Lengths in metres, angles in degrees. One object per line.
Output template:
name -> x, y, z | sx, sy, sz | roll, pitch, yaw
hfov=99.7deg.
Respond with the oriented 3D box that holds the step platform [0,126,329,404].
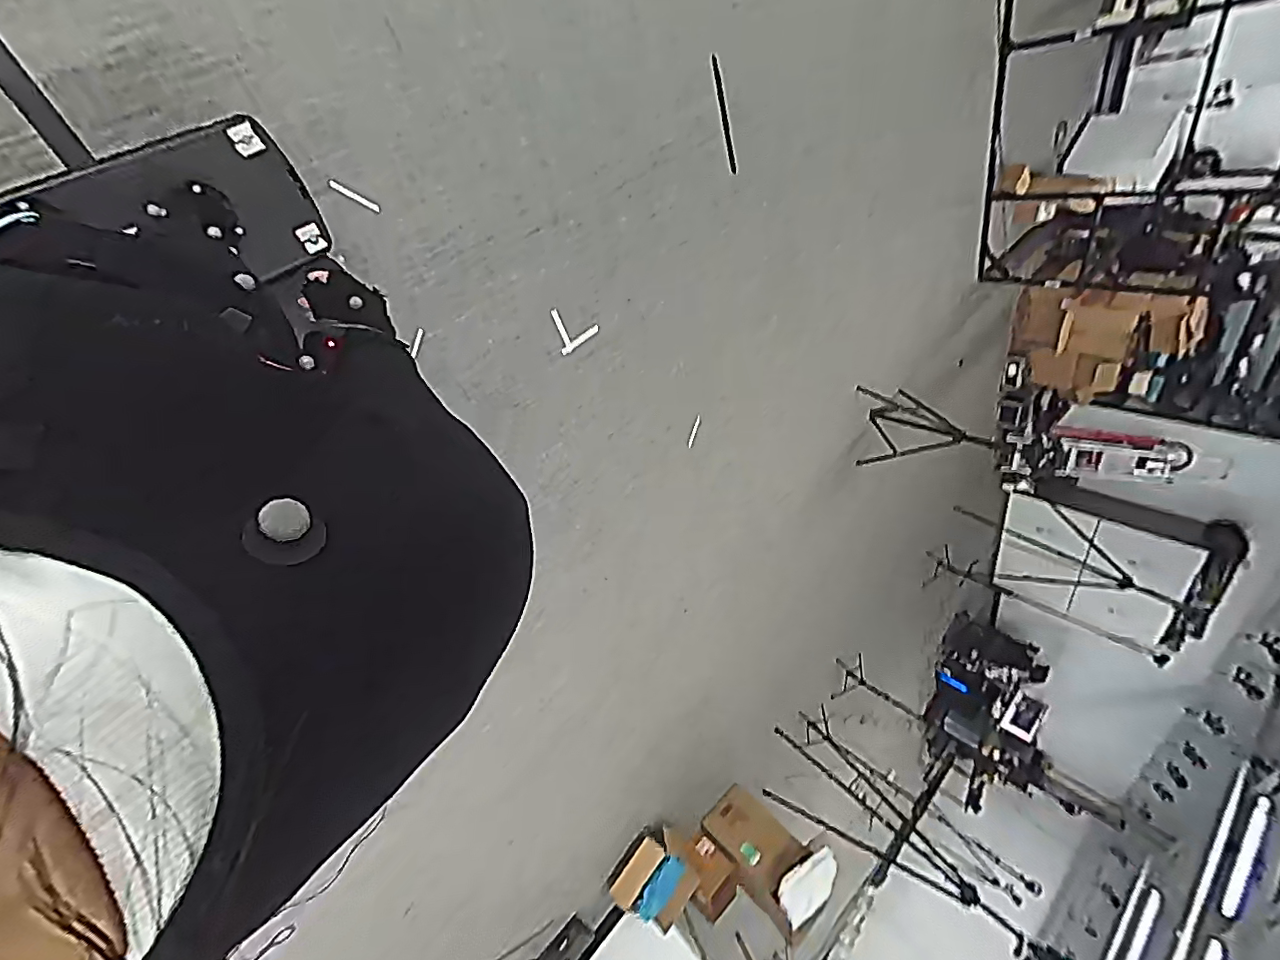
step platform -> -1.012, -0.444, 1.085 | 0.684, 0.204, 0.286 | -42, 133, -23
